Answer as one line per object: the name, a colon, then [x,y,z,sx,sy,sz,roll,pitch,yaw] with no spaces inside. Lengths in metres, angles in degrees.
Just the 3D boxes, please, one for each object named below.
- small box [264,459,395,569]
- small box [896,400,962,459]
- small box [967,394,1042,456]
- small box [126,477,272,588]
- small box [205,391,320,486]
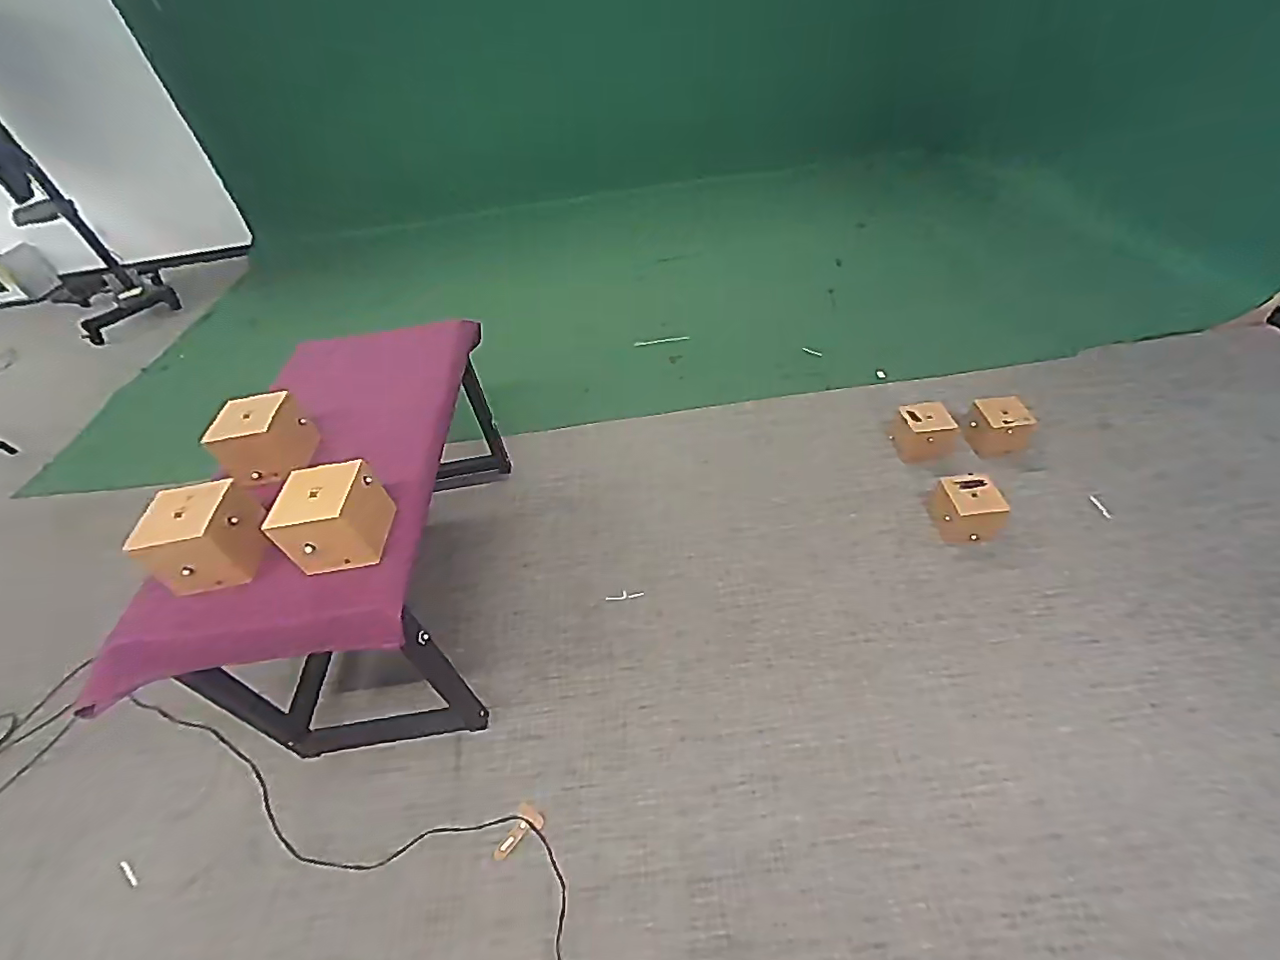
small box: [-0.673,0.082,1.198,0.168,0.176,0.179,-9,44,3]
small box: [1.155,-0.198,2.183,0.179,0.176,0.168,-7,46,3]
small box: [1.443,-0.218,2.155,0.168,0.176,0.179,-6,44,4]
small box: [-0.960,0.124,1.205,0.168,0.176,0.179,-10,45,-1]
small box: [-0.992,-0.110,1.445,0.168,0.176,0.179,-10,45,0]
